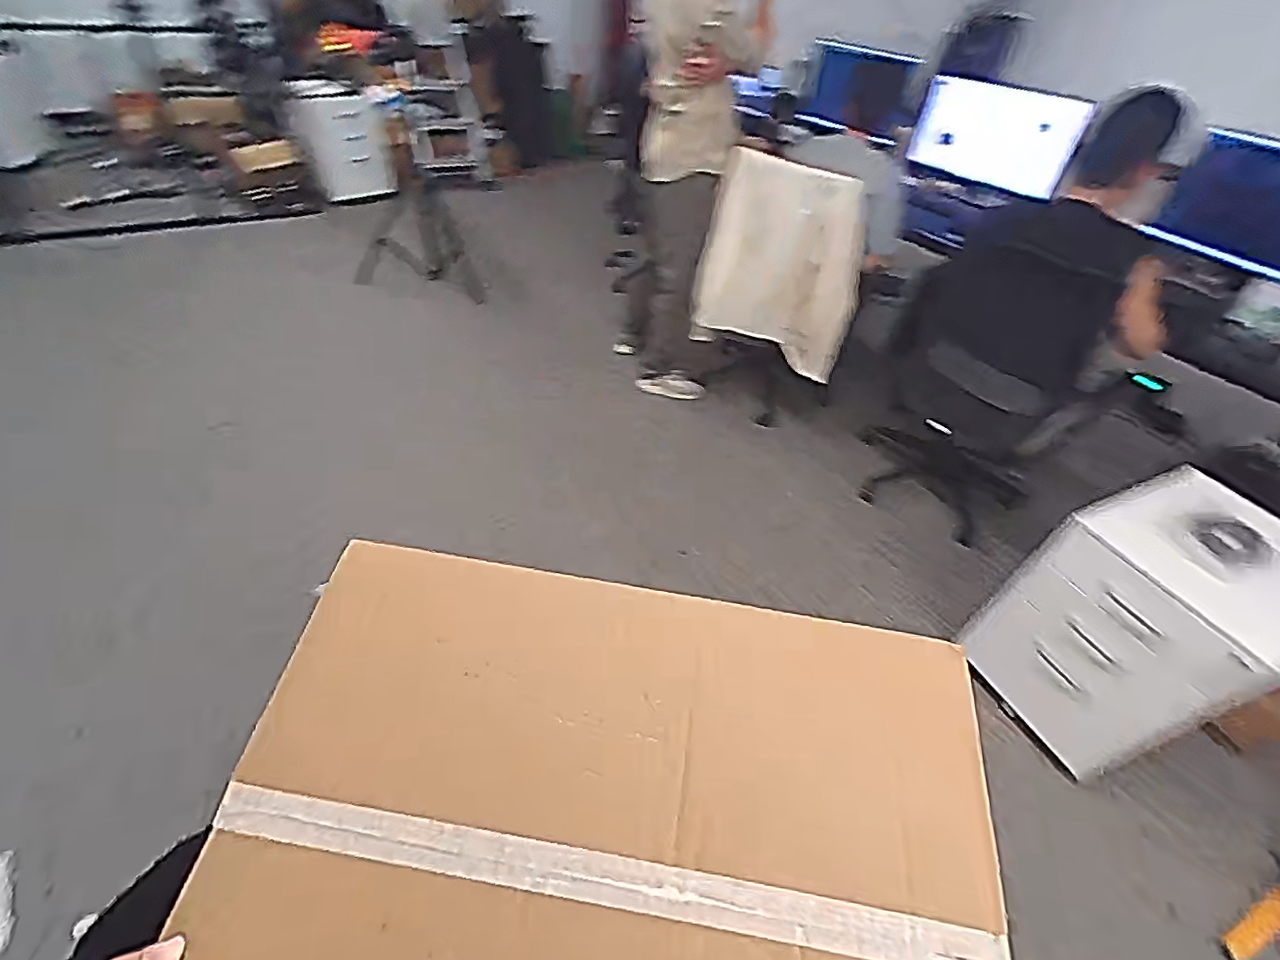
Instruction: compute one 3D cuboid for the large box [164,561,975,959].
[{"bbox_3d":[-0.032,0.285,0.412,0.408,0.320,0.320,8,59,2],"label":"large box"}]
